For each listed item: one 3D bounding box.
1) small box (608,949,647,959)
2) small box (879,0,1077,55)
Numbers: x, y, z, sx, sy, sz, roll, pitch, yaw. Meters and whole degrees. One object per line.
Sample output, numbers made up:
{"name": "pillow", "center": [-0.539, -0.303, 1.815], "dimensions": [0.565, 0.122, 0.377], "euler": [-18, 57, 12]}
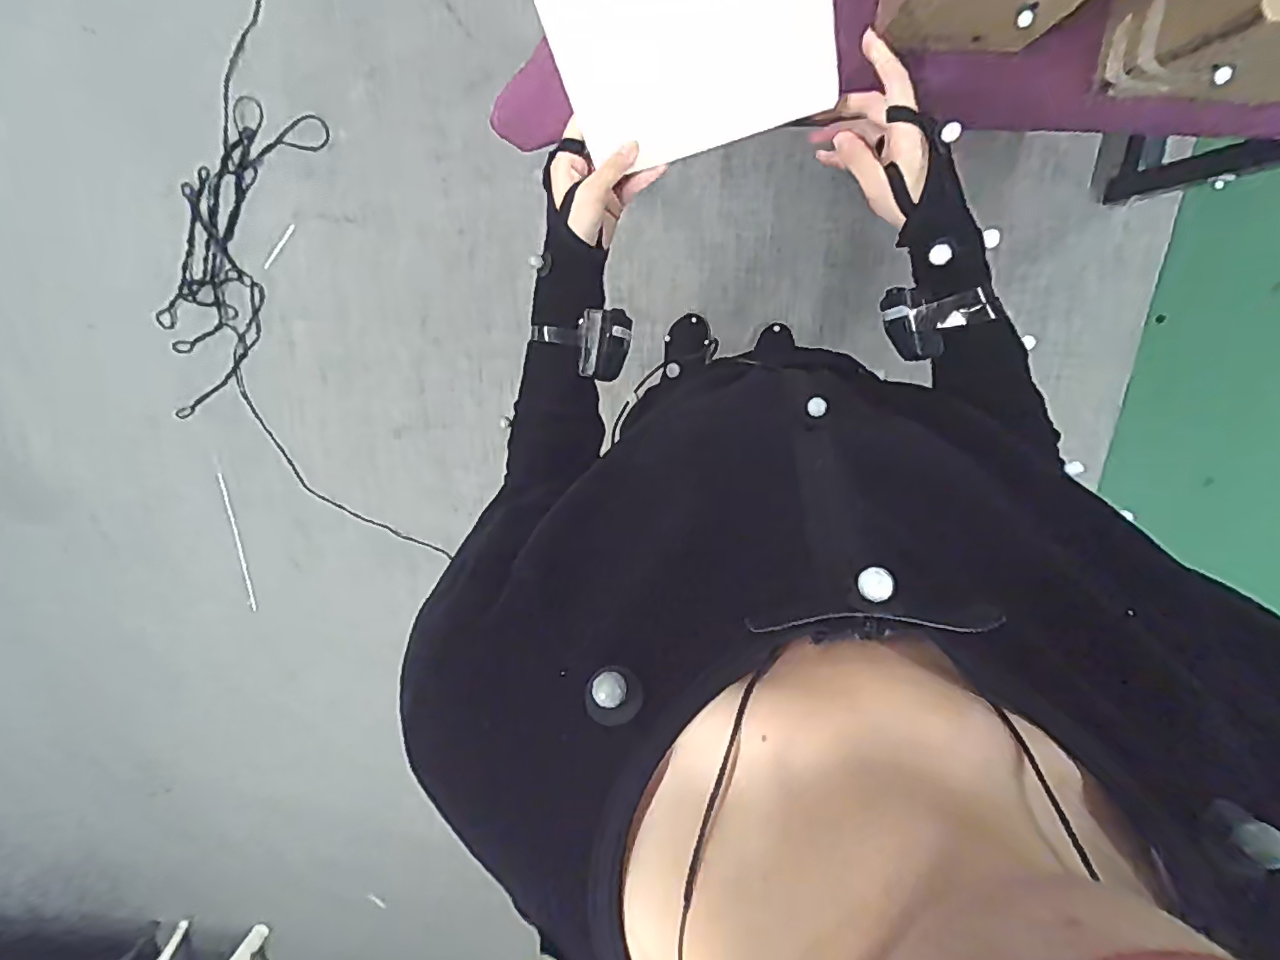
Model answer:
{"name": "small box", "center": [-0.040, 1.552, 1.597], "dimensions": [0.168, 0.176, 0.179], "euler": [20, 108, -2]}
{"name": "small box", "center": [0.344, -0.538, 0.509], "dimensions": [0.168, 0.176, 0.179], "euler": [4, 106, 2]}
